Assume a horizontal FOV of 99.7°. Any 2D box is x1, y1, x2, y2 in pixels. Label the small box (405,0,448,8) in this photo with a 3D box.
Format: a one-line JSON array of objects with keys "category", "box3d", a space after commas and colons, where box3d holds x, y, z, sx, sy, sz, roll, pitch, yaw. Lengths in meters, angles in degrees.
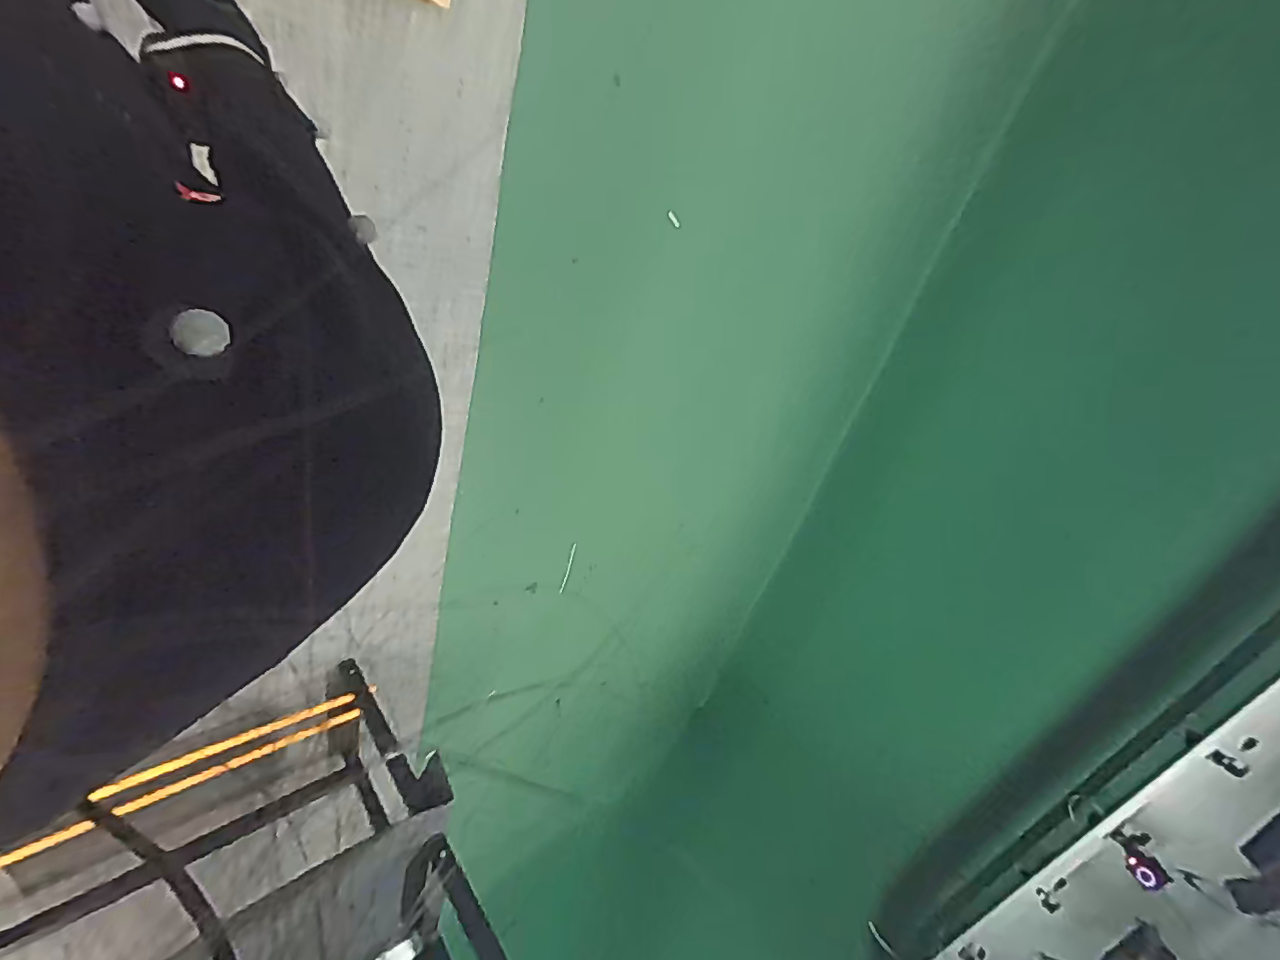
[{"category": "small box", "box3d": [-0.459, -1.027, 1.006, 0.168, 0.176, 0.179, -10, 129, -46]}]
